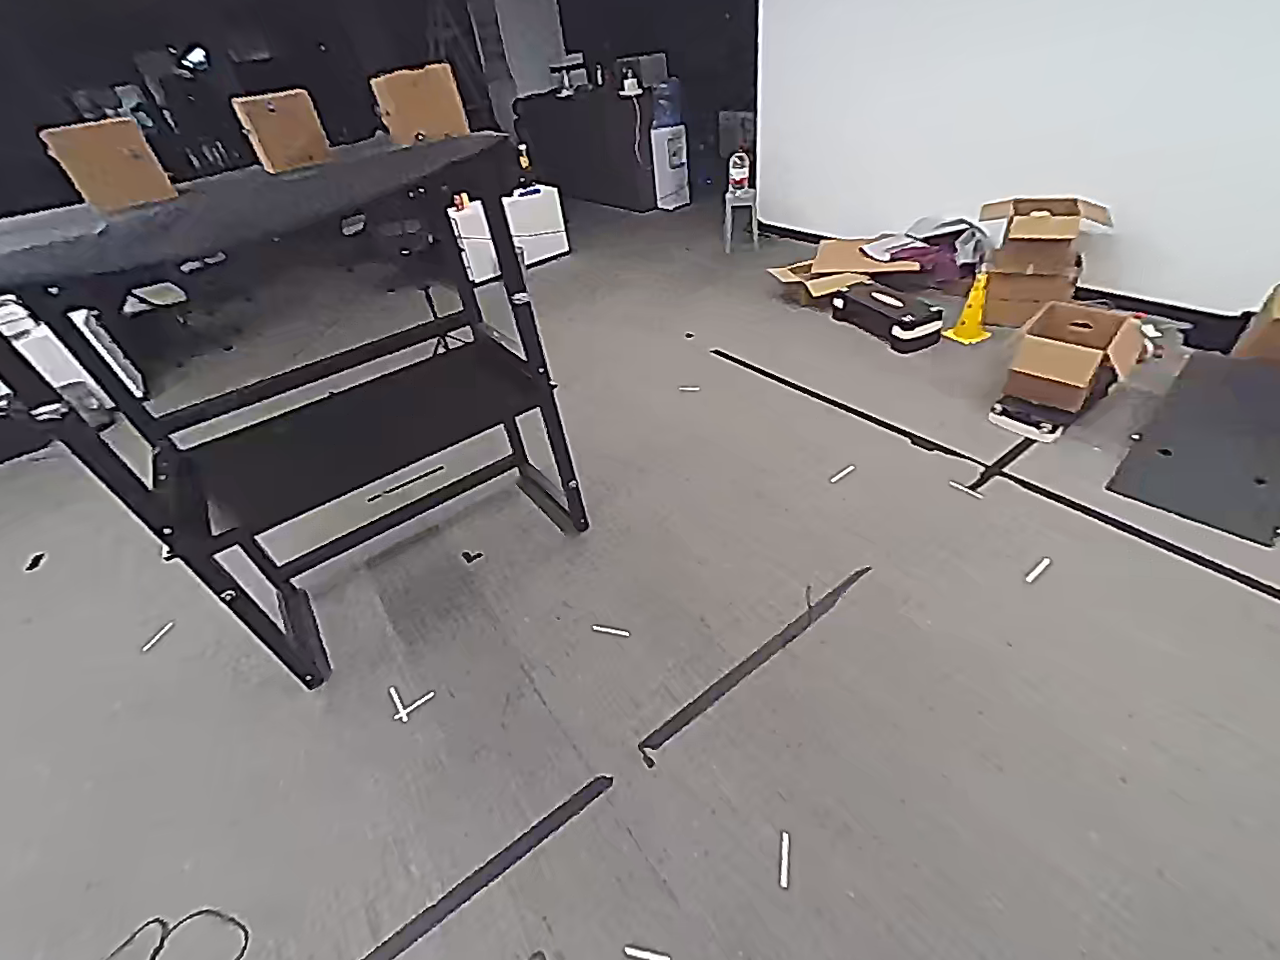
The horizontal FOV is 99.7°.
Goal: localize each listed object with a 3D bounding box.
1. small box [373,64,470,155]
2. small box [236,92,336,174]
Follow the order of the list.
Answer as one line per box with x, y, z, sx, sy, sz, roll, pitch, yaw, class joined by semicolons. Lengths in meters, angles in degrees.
-0.573;-0.971;1.425;0.168;0.176;0.179;-28;39;-21;small box
-0.977;-0.959;1.498;0.168;0.176;0.179;-30;44;-24;small box
